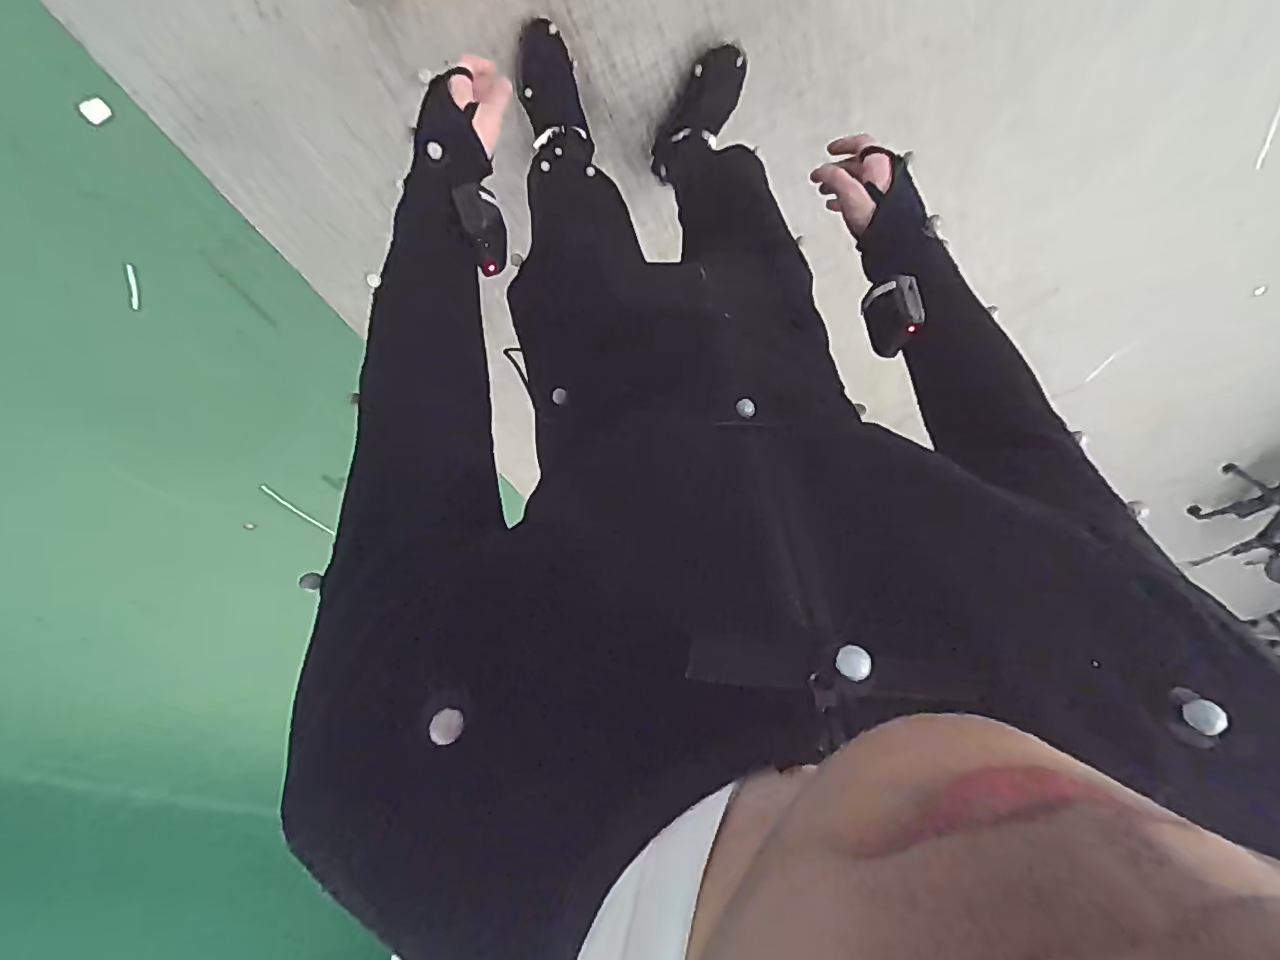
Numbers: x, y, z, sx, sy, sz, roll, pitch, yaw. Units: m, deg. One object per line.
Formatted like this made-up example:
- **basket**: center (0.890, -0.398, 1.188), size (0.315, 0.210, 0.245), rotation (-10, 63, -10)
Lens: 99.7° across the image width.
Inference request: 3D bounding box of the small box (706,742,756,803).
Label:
- **small box**: center (0.355, 1.197, 2.215), size (0.168, 0.176, 0.179), rotation (-24, 136, 10)

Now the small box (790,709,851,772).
- **small box**: center (0.713, 1.028, 2.138), size (0.168, 0.176, 0.179), rotation (-24, 135, 9)
